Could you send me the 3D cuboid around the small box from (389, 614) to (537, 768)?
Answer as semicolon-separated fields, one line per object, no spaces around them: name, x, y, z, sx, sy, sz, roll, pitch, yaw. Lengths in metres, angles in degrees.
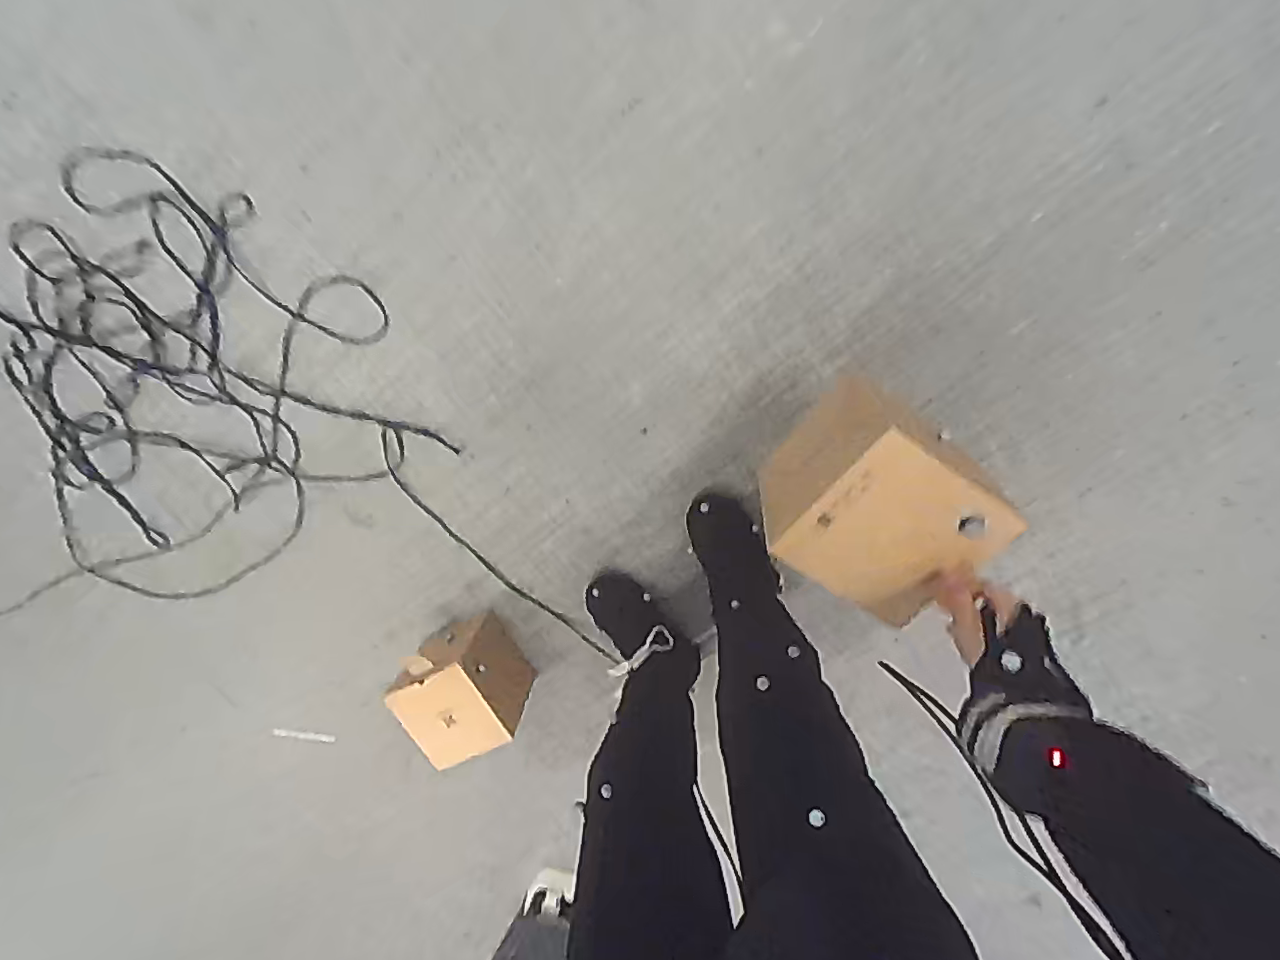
small box;-0.315;0.385;1.004;0.168;0.176;0.179;-27;103;12
